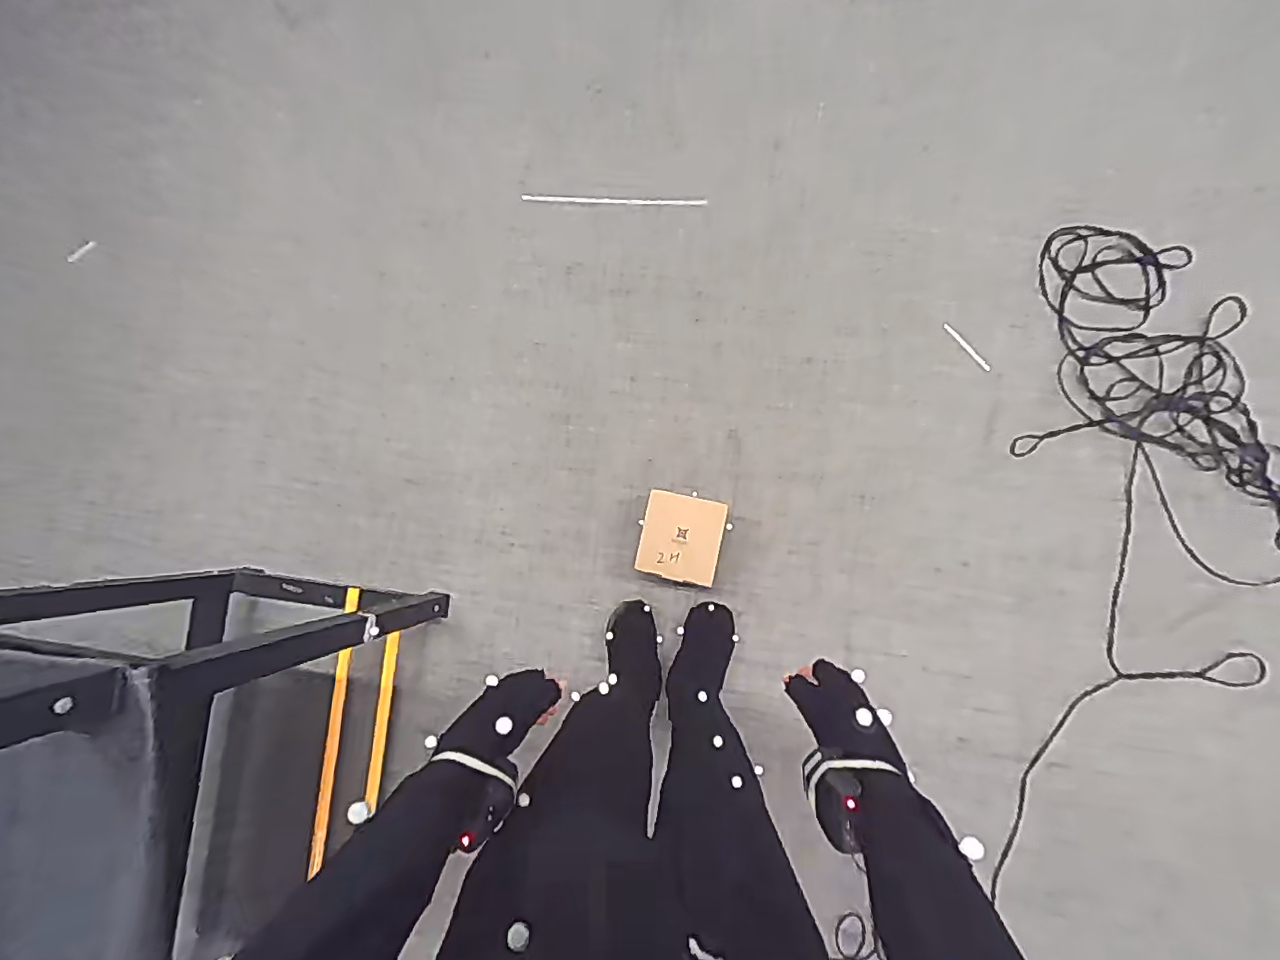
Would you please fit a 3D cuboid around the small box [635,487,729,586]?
[{"bbox_3d":[0.096,0.122,1.196,0.168,0.176,0.179,12,87,9],"label":"small box"}]
